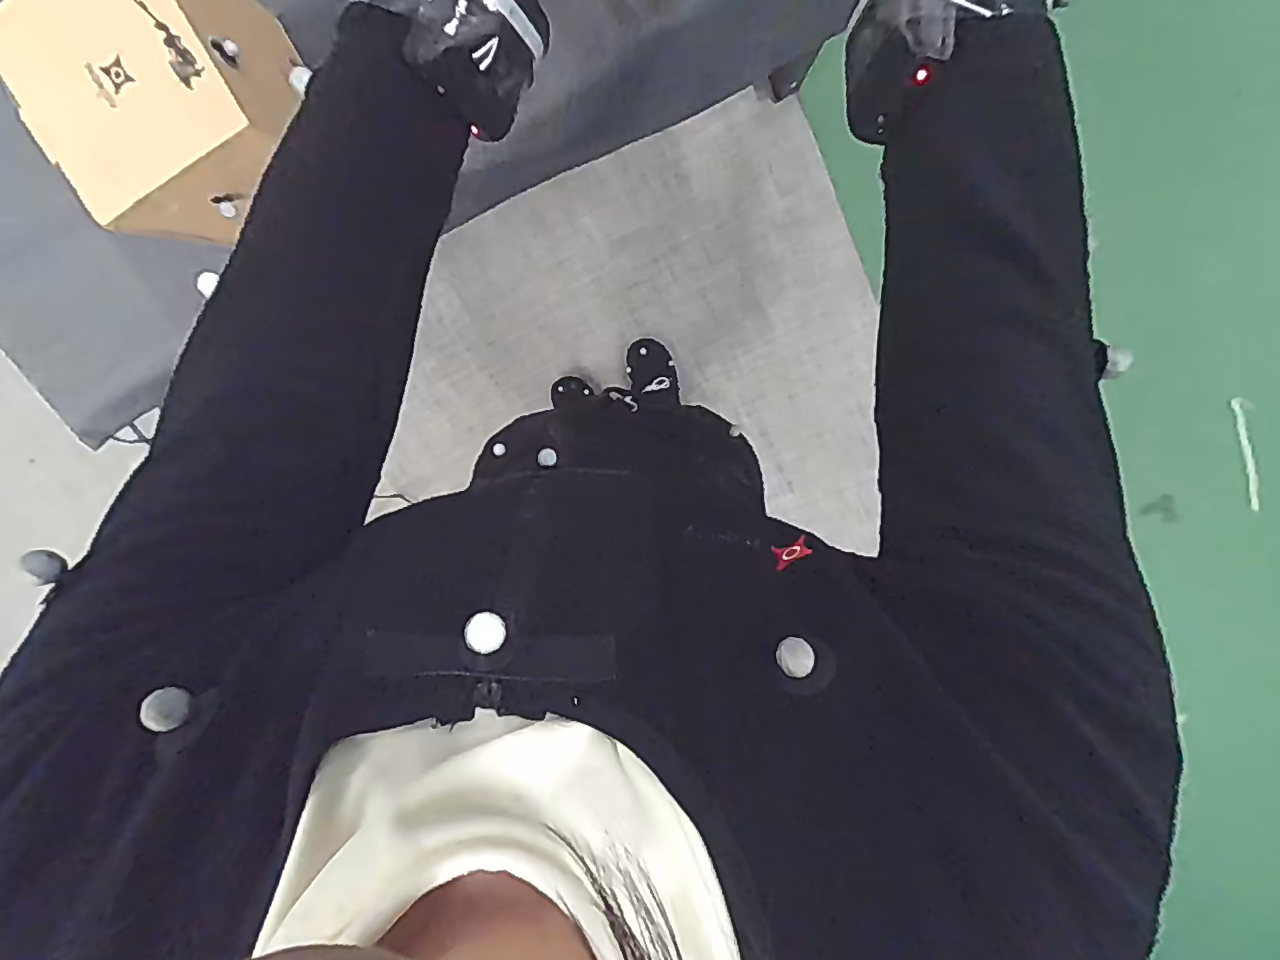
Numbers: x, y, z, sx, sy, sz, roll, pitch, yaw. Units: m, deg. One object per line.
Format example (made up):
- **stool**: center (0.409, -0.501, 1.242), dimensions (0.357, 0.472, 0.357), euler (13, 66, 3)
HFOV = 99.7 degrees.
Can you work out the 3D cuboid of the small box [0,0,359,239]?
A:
- **small box**: center (-0.422, -0.356, 0.523), dimensions (0.179, 0.176, 0.168), euler (-24, 104, 12)
